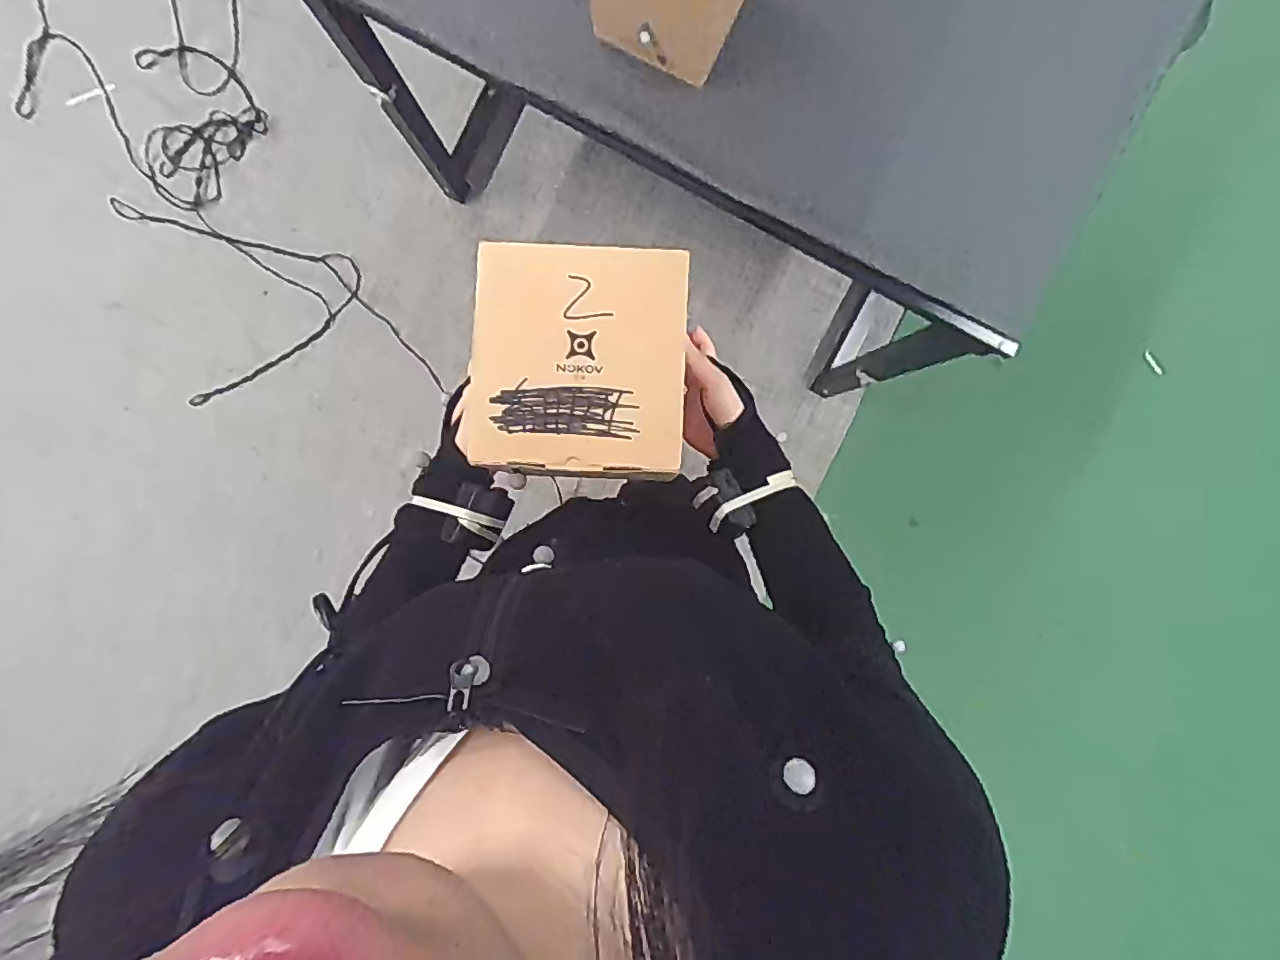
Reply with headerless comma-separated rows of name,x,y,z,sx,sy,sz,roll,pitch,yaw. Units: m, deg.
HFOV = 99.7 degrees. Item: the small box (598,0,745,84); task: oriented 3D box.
small box,0.051,-0.643,0.652,0.168,0.176,0.179,26,91,-1
